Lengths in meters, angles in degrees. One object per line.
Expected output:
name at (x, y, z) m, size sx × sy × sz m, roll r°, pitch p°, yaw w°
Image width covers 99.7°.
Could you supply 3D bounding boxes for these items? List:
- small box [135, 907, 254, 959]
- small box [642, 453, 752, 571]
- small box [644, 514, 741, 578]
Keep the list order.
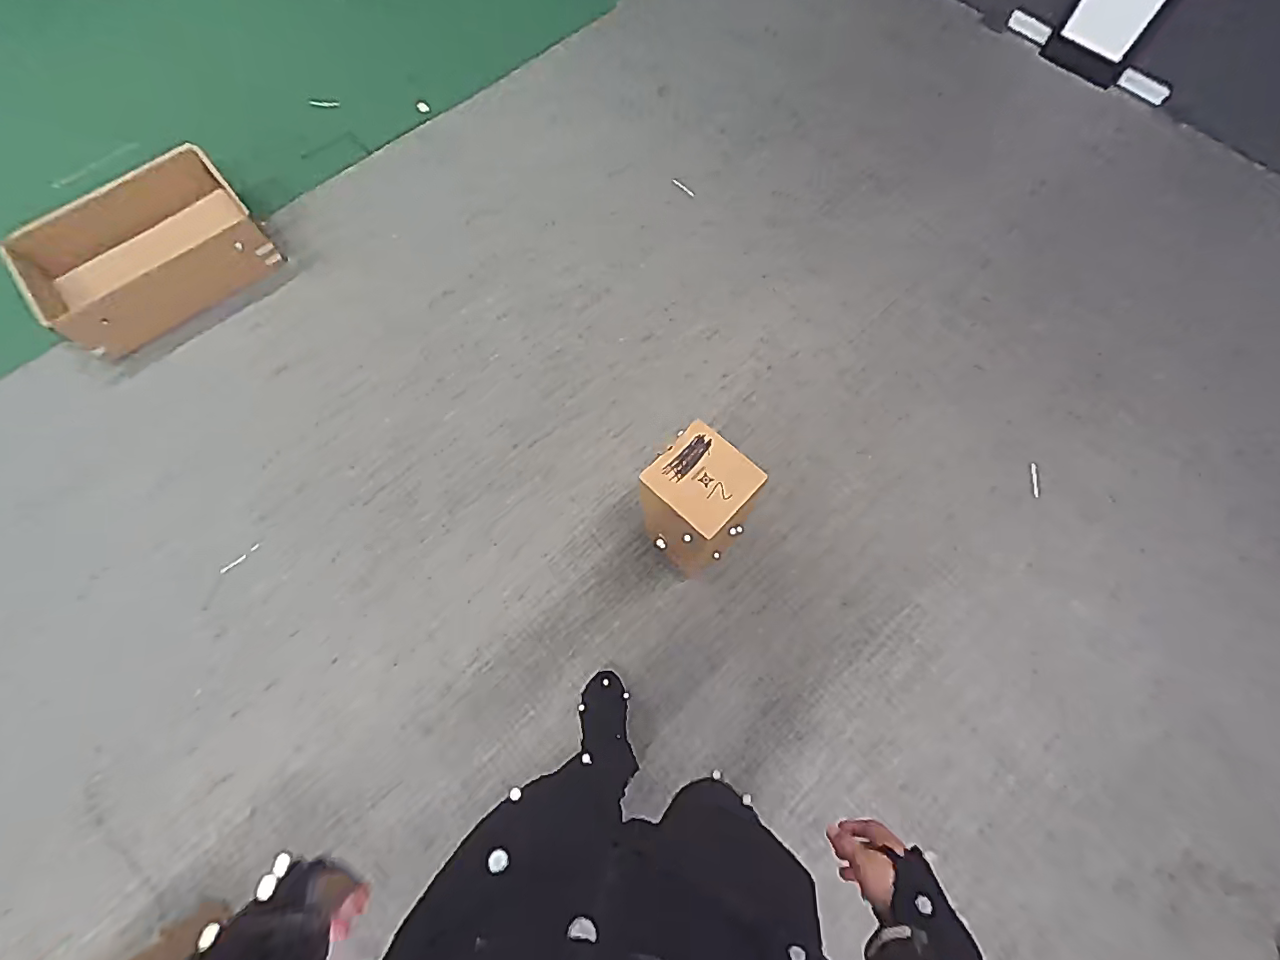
small box at (-0.903, 0.994, 1.053) m, size 0.168 × 0.176 × 0.179 m, roll 37°, pitch 75°, yaw 14°
small box at (0.120, 0.076, 1.208) m, size 0.179 × 0.176 × 0.168 m, roll -41°, pitch 73°, yaw -12°
small box at (0.125, 0.123, 1.364) m, size 0.168 × 0.176 × 0.179 m, roll -41°, pitch 74°, yaw -13°
